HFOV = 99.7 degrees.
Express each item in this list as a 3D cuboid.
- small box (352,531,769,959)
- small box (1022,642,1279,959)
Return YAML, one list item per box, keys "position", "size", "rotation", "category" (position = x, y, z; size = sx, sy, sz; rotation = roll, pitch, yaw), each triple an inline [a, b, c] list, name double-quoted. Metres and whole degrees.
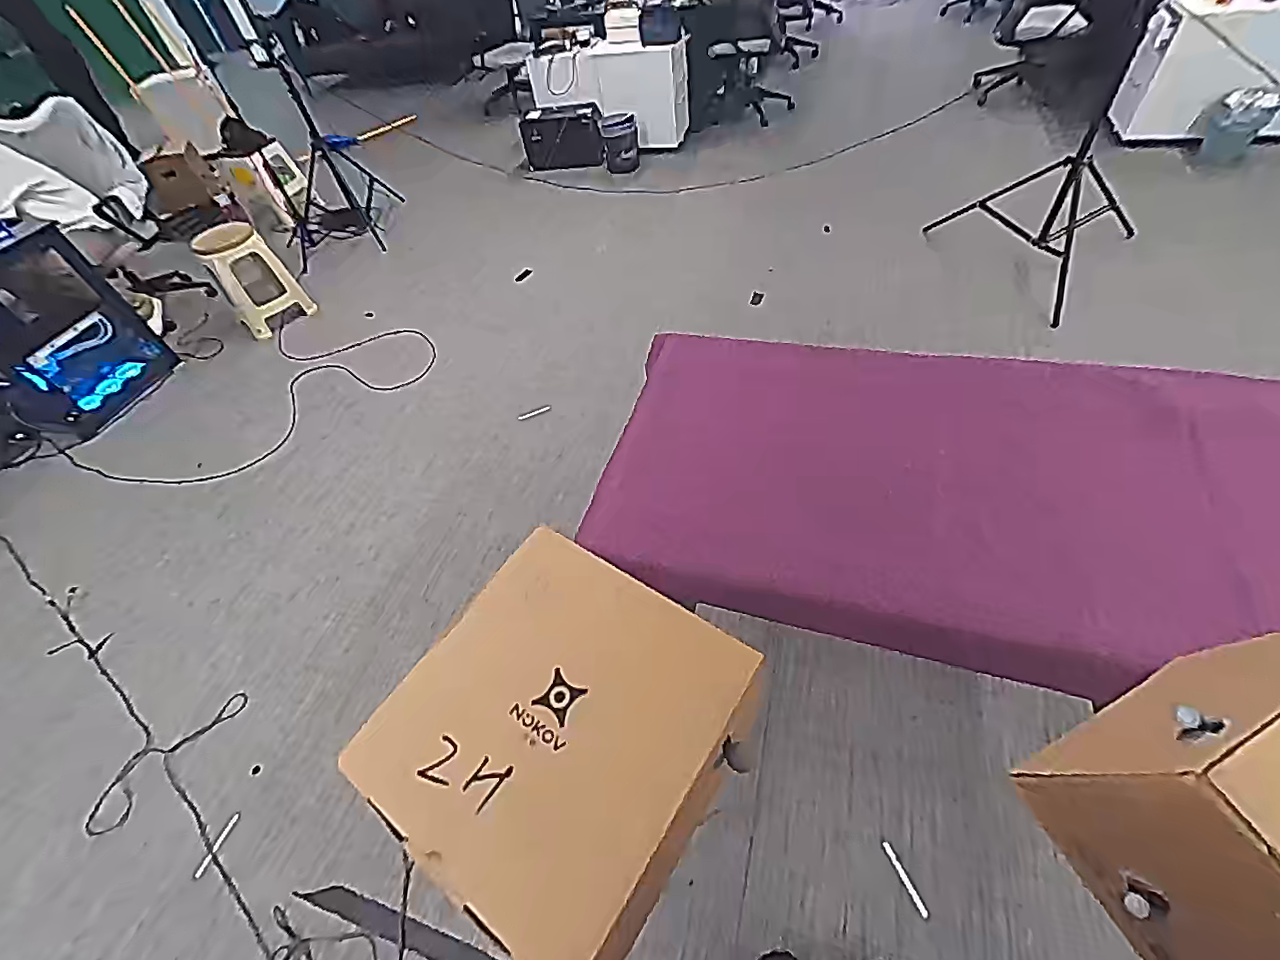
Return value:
- position: [-0.033, 0.172, 0.358]
  size: [0.168, 0.176, 0.179]
  rotation: [26, 63, 25]
  category: "small box"
- position: [0.367, 0.196, 0.291]
  size: [0.179, 0.176, 0.168]
  rotation: [-27, 63, -9]
  category: "small box"
